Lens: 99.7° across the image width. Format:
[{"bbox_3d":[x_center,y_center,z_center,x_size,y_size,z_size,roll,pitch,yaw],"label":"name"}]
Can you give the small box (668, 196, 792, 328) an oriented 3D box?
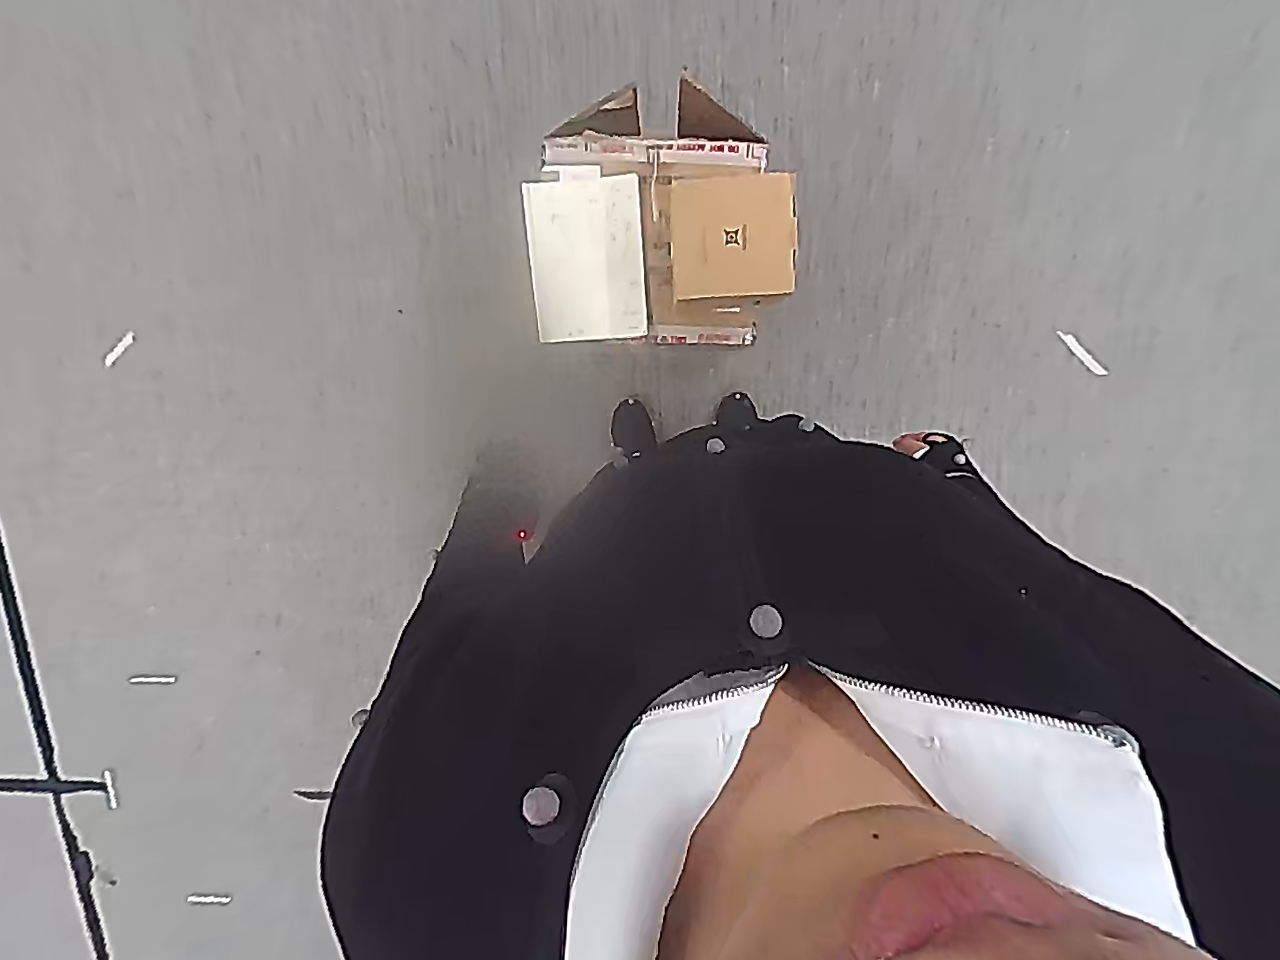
[{"bbox_3d":[0.138,-0.344,0.878,0.179,0.176,0.168,-4,100,3],"label":"small box"}]
